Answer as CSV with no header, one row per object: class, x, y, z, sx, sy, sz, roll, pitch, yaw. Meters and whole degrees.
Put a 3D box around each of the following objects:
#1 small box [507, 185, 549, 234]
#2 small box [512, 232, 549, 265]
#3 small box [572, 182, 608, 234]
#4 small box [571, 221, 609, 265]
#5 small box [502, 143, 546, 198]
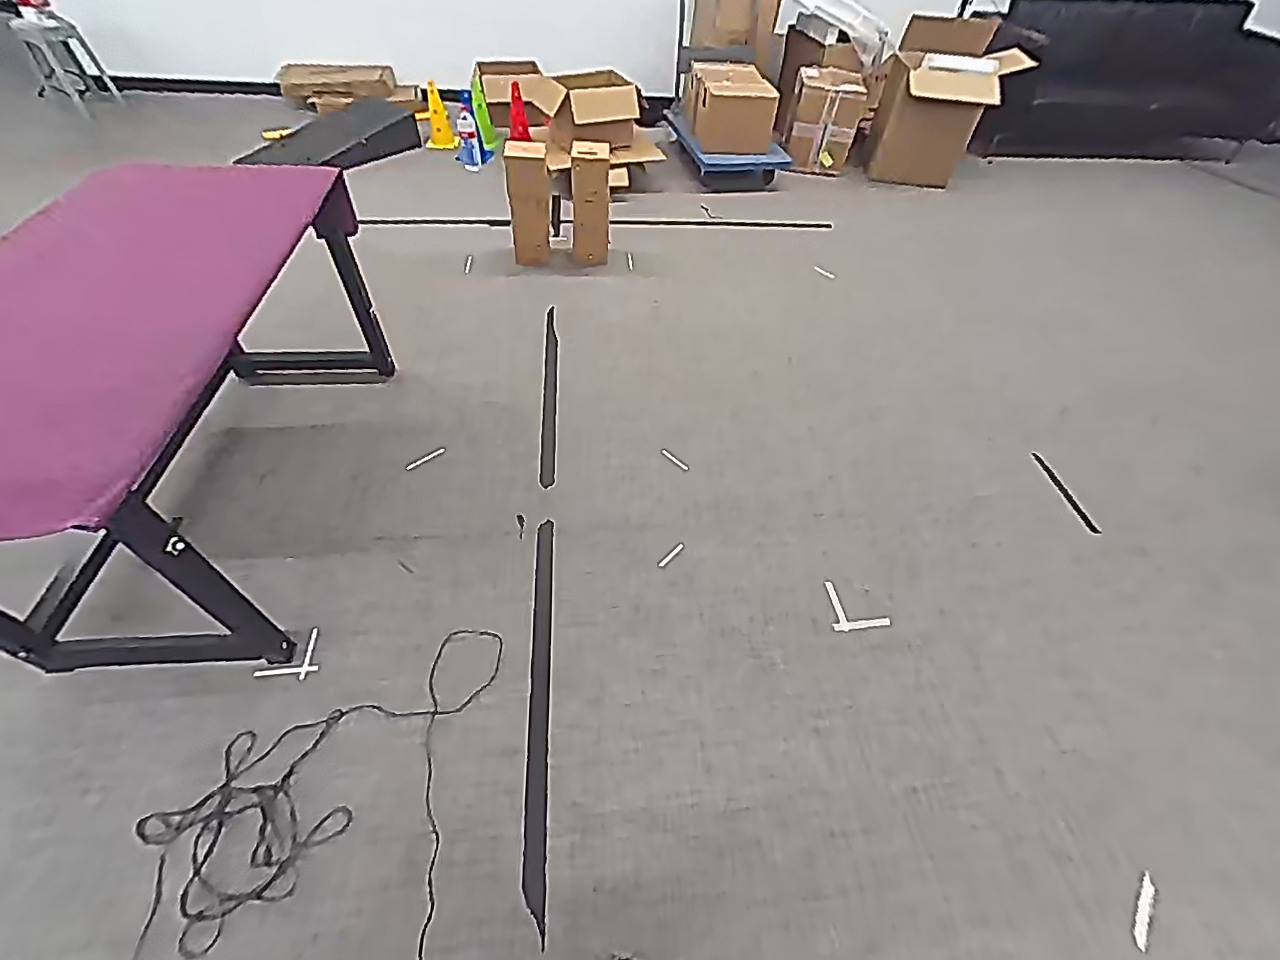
small box,-0.524,-1.274,2.539,0.179,0.176,0.168,-1,51,-8
small box,-0.539,-1.178,2.669,0.168,0.176,0.179,-2,50,-8
small box,-0.237,-1.296,2.578,0.168,0.176,0.179,1,50,-4
small box,-0.251,-1.197,2.709,0.179,0.176,0.168,2,51,-4
small box,-0.514,-1.379,2.413,0.179,0.176,0.168,0,51,-8
